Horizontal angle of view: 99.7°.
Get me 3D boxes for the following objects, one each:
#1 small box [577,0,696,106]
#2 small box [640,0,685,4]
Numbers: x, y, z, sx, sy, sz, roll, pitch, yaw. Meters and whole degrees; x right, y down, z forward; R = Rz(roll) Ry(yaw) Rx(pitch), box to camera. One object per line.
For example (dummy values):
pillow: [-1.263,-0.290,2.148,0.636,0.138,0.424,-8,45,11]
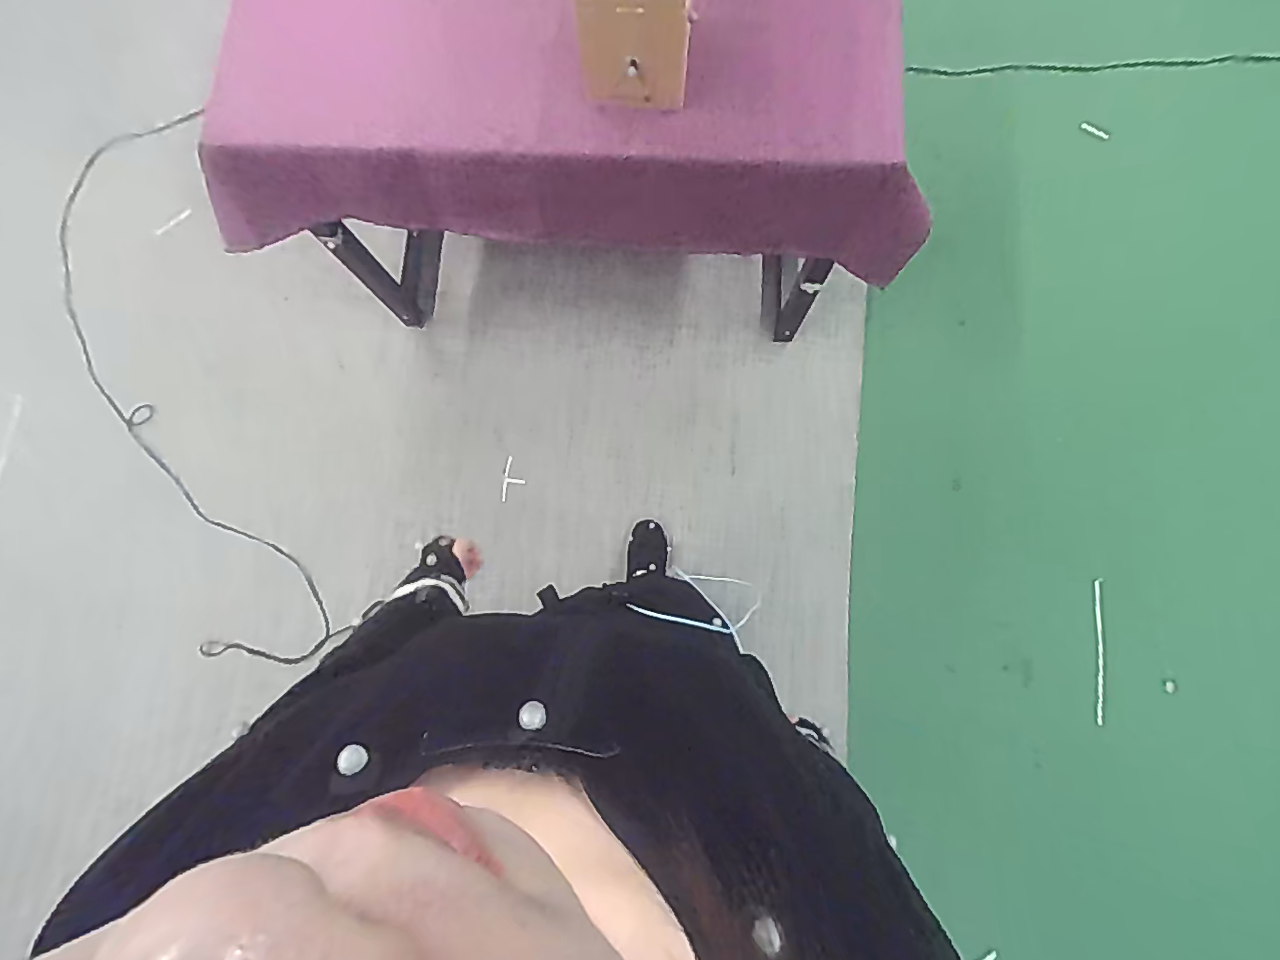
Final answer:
small box: [0.002,-0.734,0.855,0.168,0.176,0.179,5,81,2]
small box: [-0.006,-0.763,0.692,0.168,0.176,0.179,5,80,2]
